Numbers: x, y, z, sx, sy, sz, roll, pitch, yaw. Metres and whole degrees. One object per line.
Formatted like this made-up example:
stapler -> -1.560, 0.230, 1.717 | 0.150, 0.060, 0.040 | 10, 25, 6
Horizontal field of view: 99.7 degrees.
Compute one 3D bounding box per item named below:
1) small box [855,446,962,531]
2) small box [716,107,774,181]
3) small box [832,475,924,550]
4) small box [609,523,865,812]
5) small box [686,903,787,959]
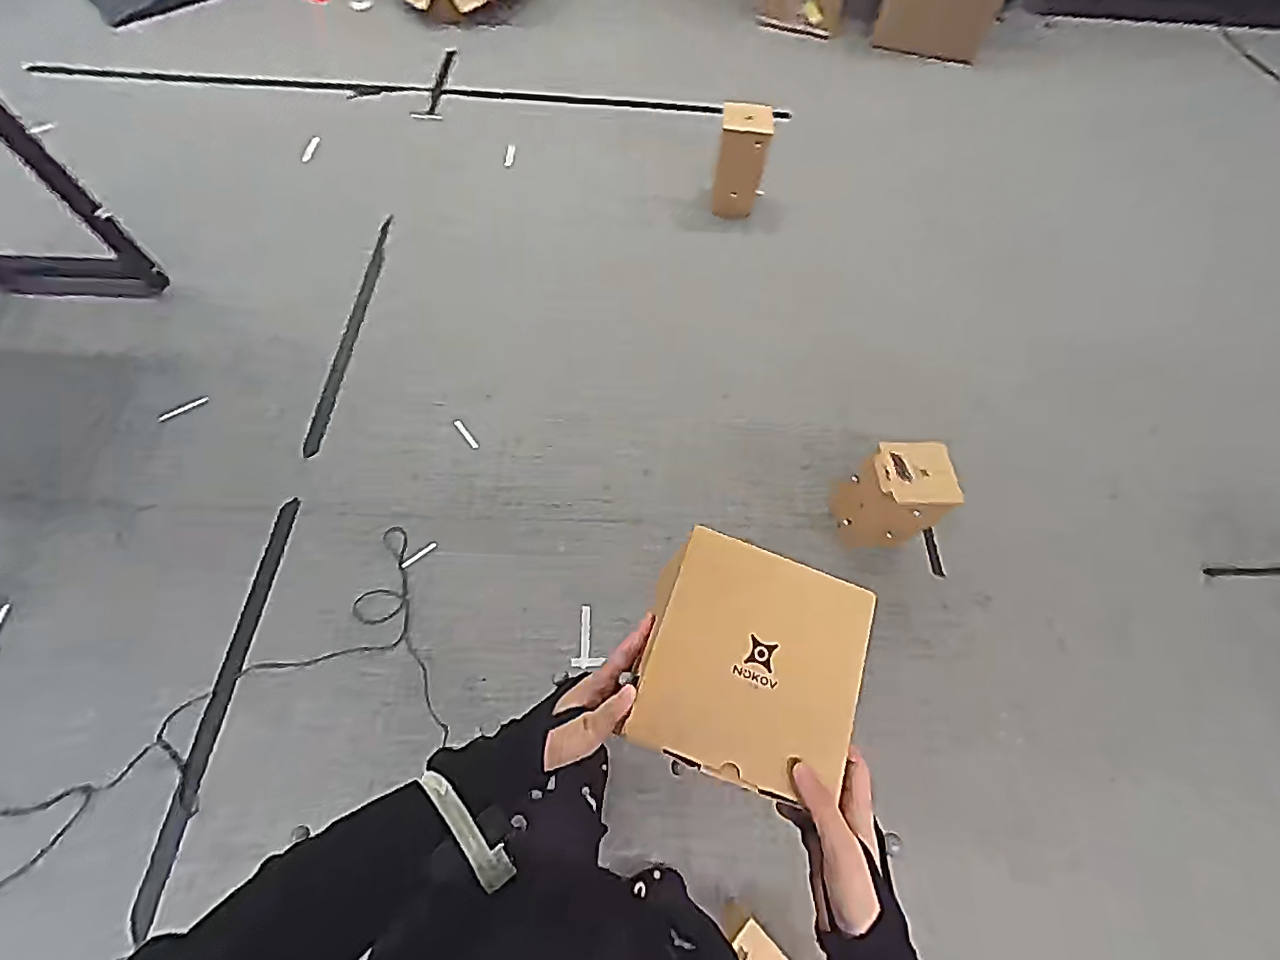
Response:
small box -> 0.669, 0.025, 1.377 | 0.179, 0.176, 0.168 | 0, 64, -4
small box -> 0.383, -1.228, 1.983 | 0.179, 0.176, 0.168 | 6, 63, 0
small box -> 0.660, 0.094, 1.527 | 0.179, 0.176, 0.168 | -1, 64, -5
small box -> 0.076, 0.167, 0.496 | 0.168, 0.176, 0.179 | 20, 67, 1
small box -> 0.209, 0.983, 1.055 | 0.168, 0.176, 0.179 | -41, 73, -20
